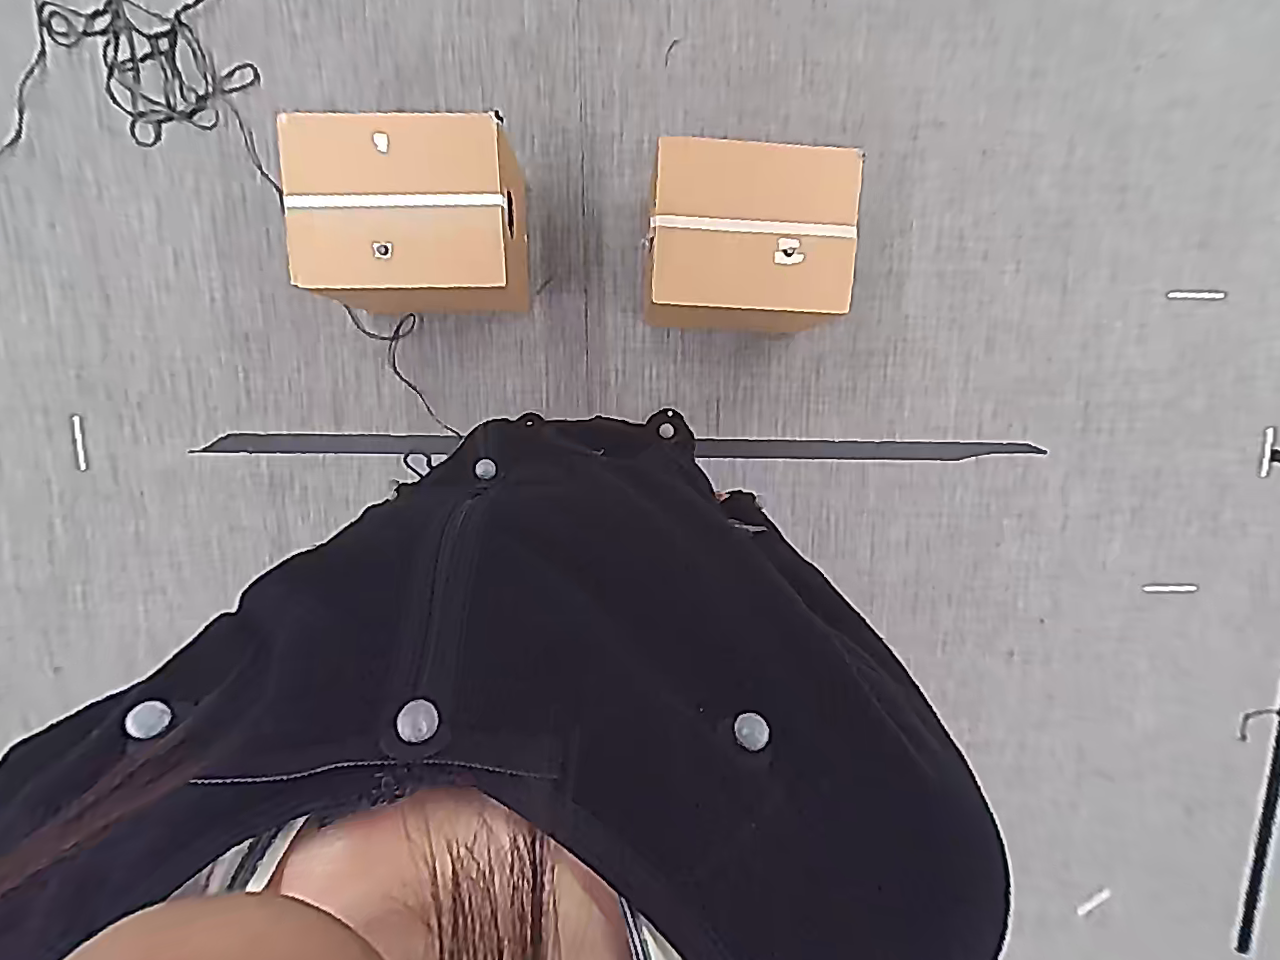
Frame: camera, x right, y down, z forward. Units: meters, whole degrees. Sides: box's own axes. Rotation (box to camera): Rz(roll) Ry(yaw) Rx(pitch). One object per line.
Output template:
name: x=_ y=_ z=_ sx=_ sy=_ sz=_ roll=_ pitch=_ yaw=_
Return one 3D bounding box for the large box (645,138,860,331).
large box: x=0.222 y=-0.521 z=1.219 sx=0.408 sy=0.320 sz=0.320 roll=2 pitch=98 yaw=-4
